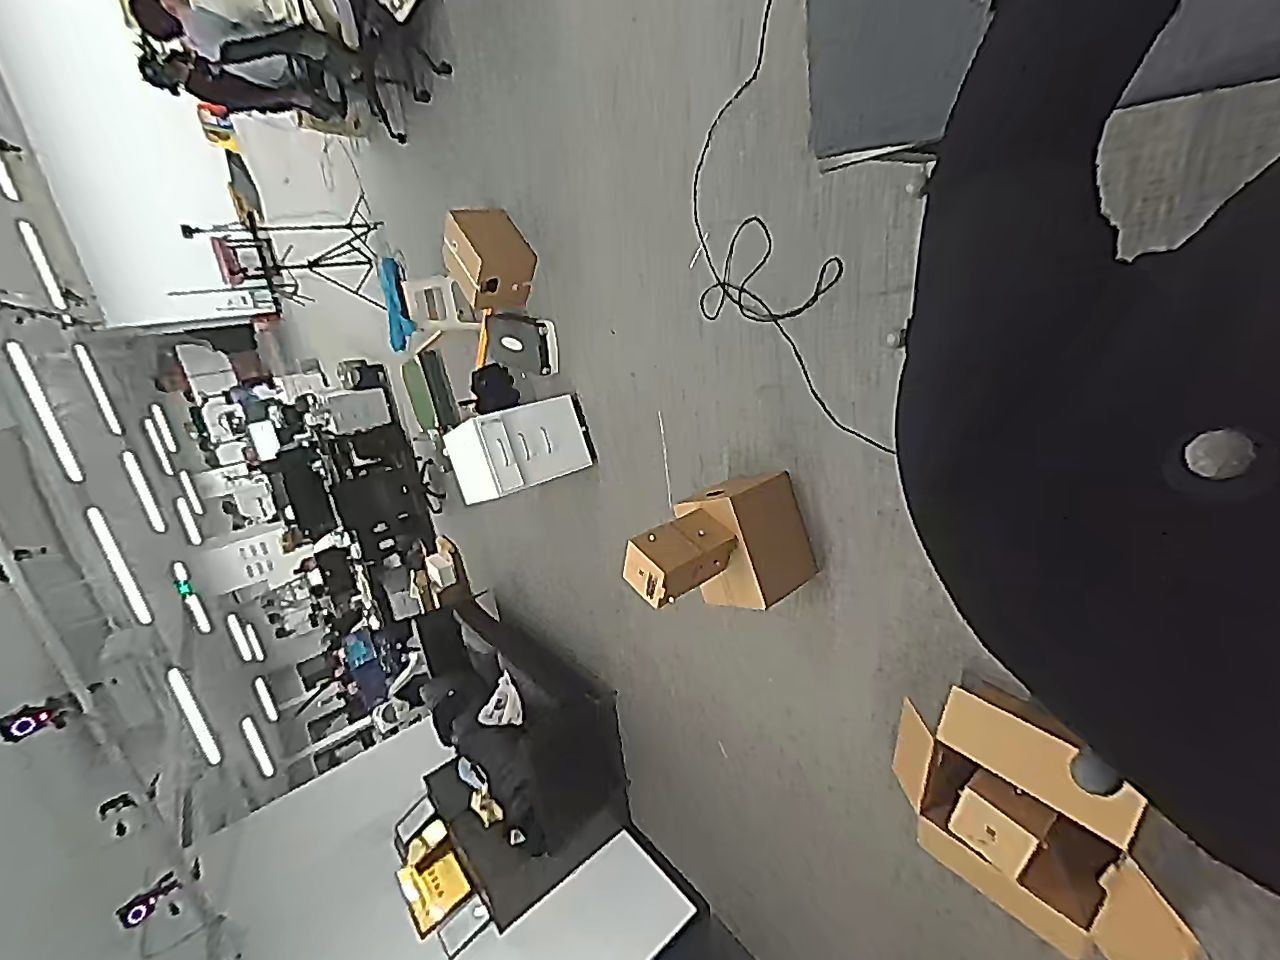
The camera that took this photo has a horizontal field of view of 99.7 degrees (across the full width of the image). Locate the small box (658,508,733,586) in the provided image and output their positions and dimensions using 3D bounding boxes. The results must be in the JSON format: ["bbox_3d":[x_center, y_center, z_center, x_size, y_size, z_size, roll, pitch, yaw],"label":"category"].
[{"bbox_3d":[0.191,0.220,1.843,0.179,0.176,0.168,38,134,33],"label":"small box"}]

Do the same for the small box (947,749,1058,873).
[{"bbox_3d":[0.930,0.837,1.384,0.168,0.176,0.179,32,131,45],"label":"small box"}]
